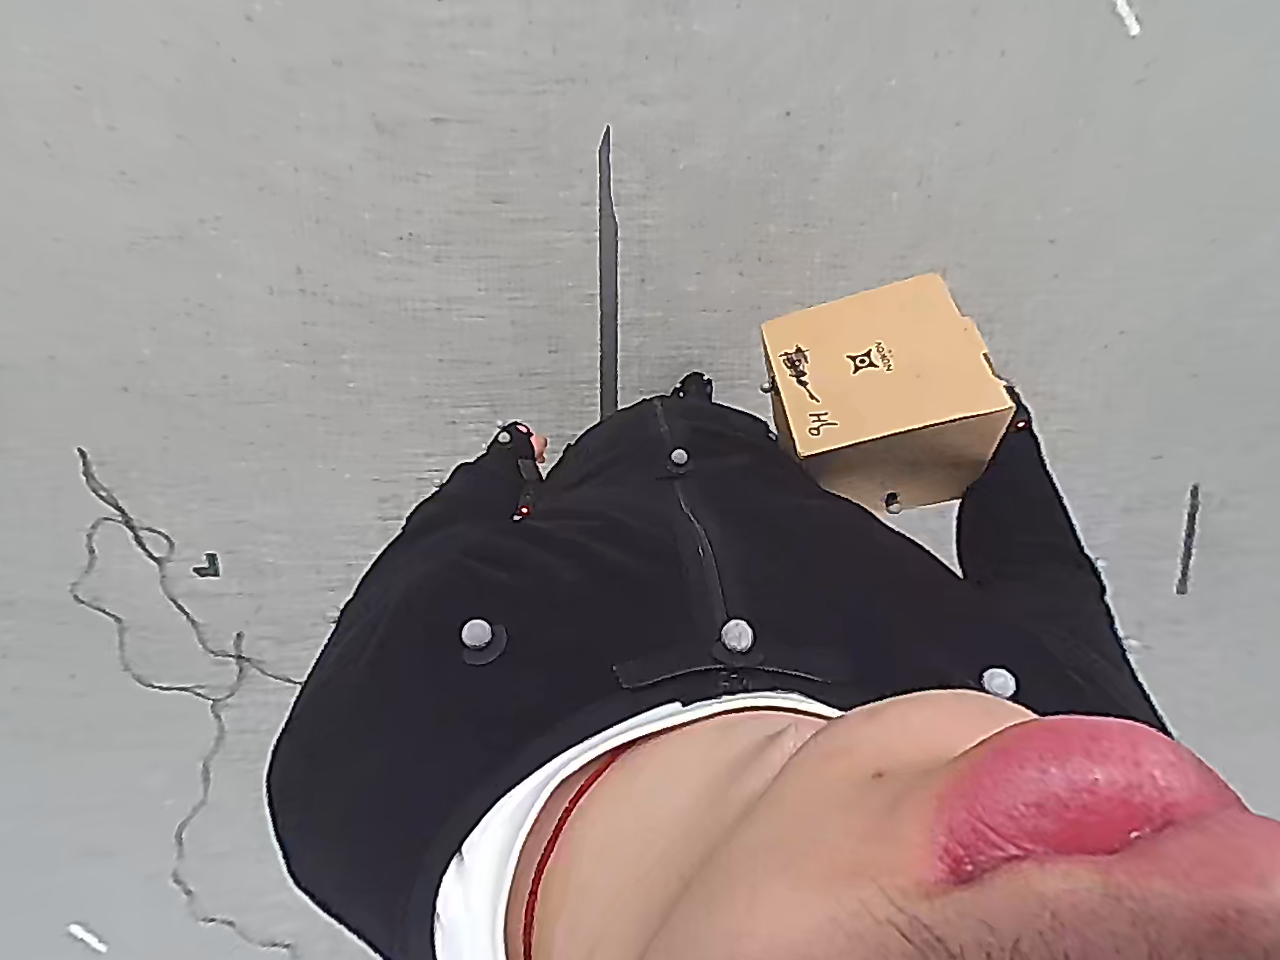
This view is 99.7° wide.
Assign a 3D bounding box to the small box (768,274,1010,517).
[{"bbox_3d":[0.243,-0.078,0.575,0.179,0.176,0.168,-13,58,11],"label":"small box"}]
